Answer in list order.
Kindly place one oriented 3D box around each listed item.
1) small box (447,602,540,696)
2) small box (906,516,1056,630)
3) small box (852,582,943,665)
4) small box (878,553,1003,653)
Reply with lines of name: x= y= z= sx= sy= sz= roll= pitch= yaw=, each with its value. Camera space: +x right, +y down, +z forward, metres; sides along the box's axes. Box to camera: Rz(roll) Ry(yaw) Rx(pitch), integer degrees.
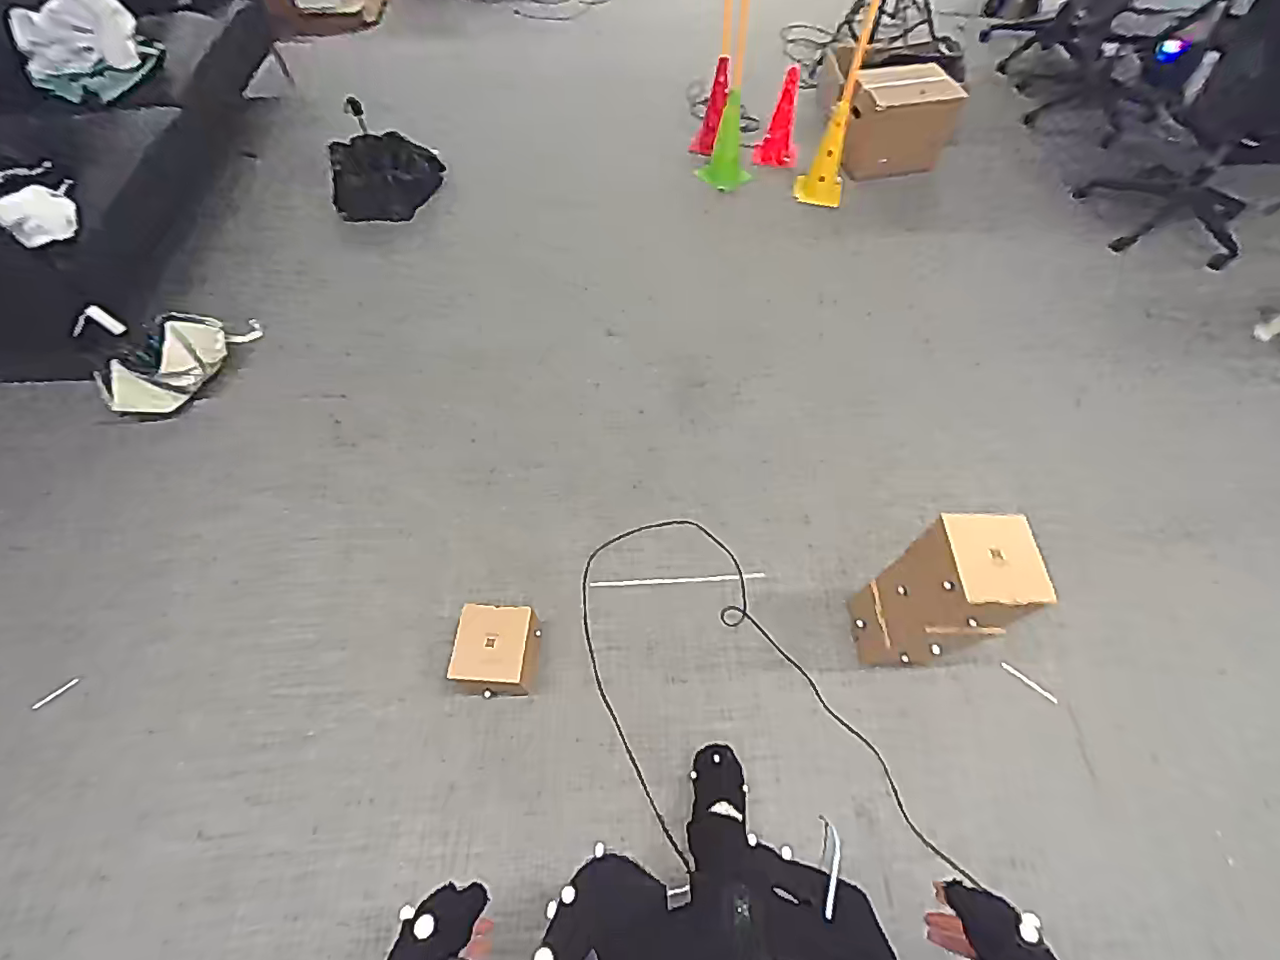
small box: x=-0.340 y=0.408 z=1.296 sx=0.168 sy=0.176 sz=0.179 roll=3 pitch=59 yaw=2
small box: x=0.655 y=0.186 z=1.066 sx=0.168 sy=0.176 sz=0.179 roll=0 pitch=60 yaw=-1
small box: x=0.645 y=0.359 z=1.344 sx=0.179 sy=0.176 sz=0.168 roll=0 pitch=60 yaw=0
small box: x=0.653 y=0.276 z=1.202 sx=0.168 sy=0.176 sz=0.179 roll=1 pitch=60 yaw=-1
